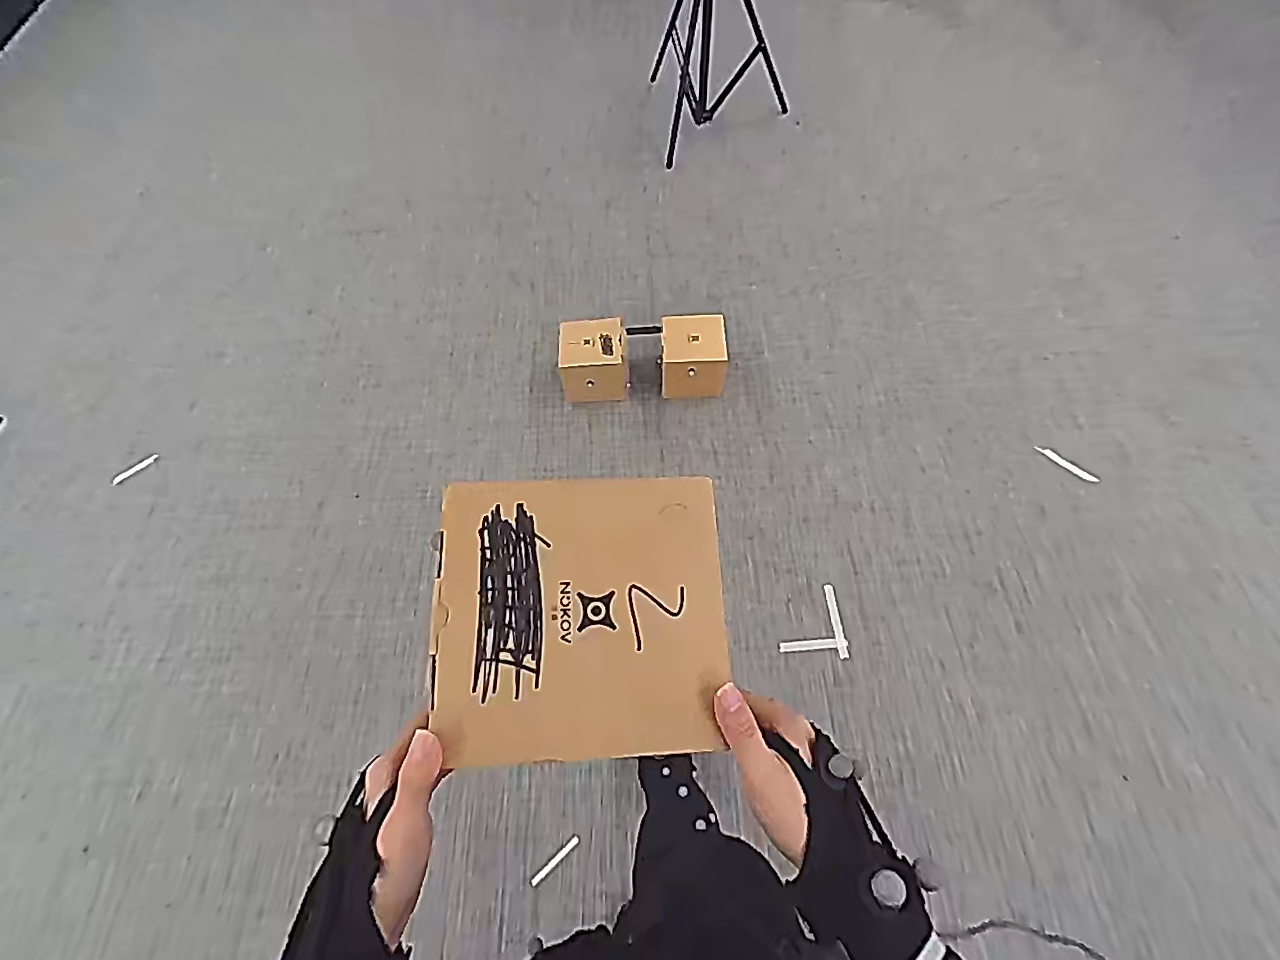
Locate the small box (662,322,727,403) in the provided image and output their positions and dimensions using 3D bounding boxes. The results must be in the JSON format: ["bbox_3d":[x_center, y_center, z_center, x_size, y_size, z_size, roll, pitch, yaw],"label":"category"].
[{"bbox_3d":[0.153,-0.338,1.572,0.179,0.176,0.168,-2,63,3],"label":"small box"}]

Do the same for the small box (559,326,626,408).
[{"bbox_3d":[-0.131,-0.326,1.578,0.179,0.176,0.168,-3,63,3],"label":"small box"}]
